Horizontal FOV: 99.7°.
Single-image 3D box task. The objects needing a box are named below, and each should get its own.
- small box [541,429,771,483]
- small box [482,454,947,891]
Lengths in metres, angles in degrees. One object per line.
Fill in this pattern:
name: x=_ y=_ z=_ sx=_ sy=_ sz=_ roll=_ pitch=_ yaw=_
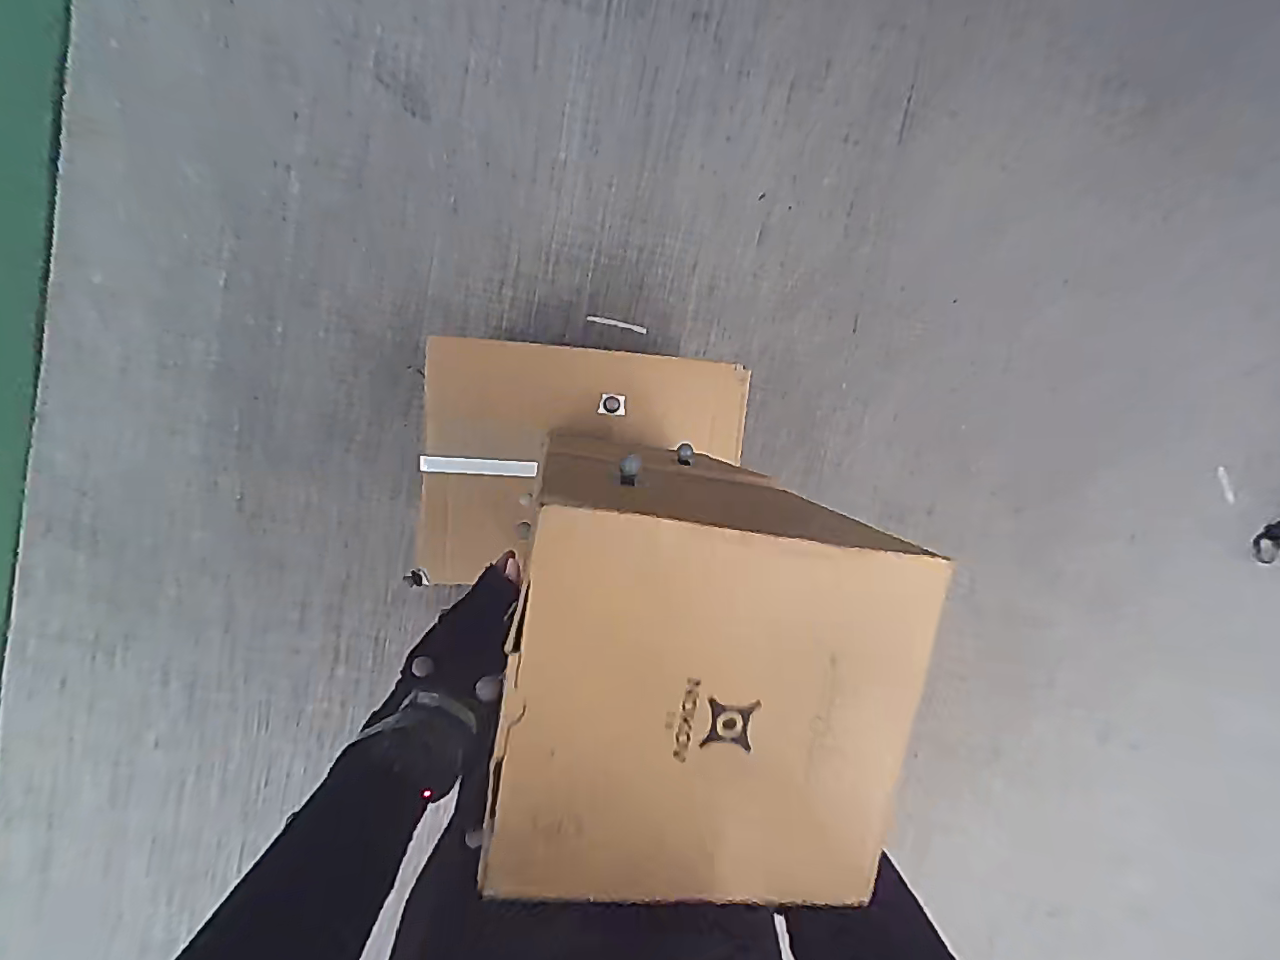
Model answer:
small box: x=-0.006 y=0.059 z=0.461 sx=0.168 sy=0.176 sz=0.179 roll=7 pitch=99 yaw=-10
small box: x=0.021 y=0.083 z=0.302 sx=0.179 sy=0.176 sz=0.168 roll=8 pitch=99 yaw=-11
